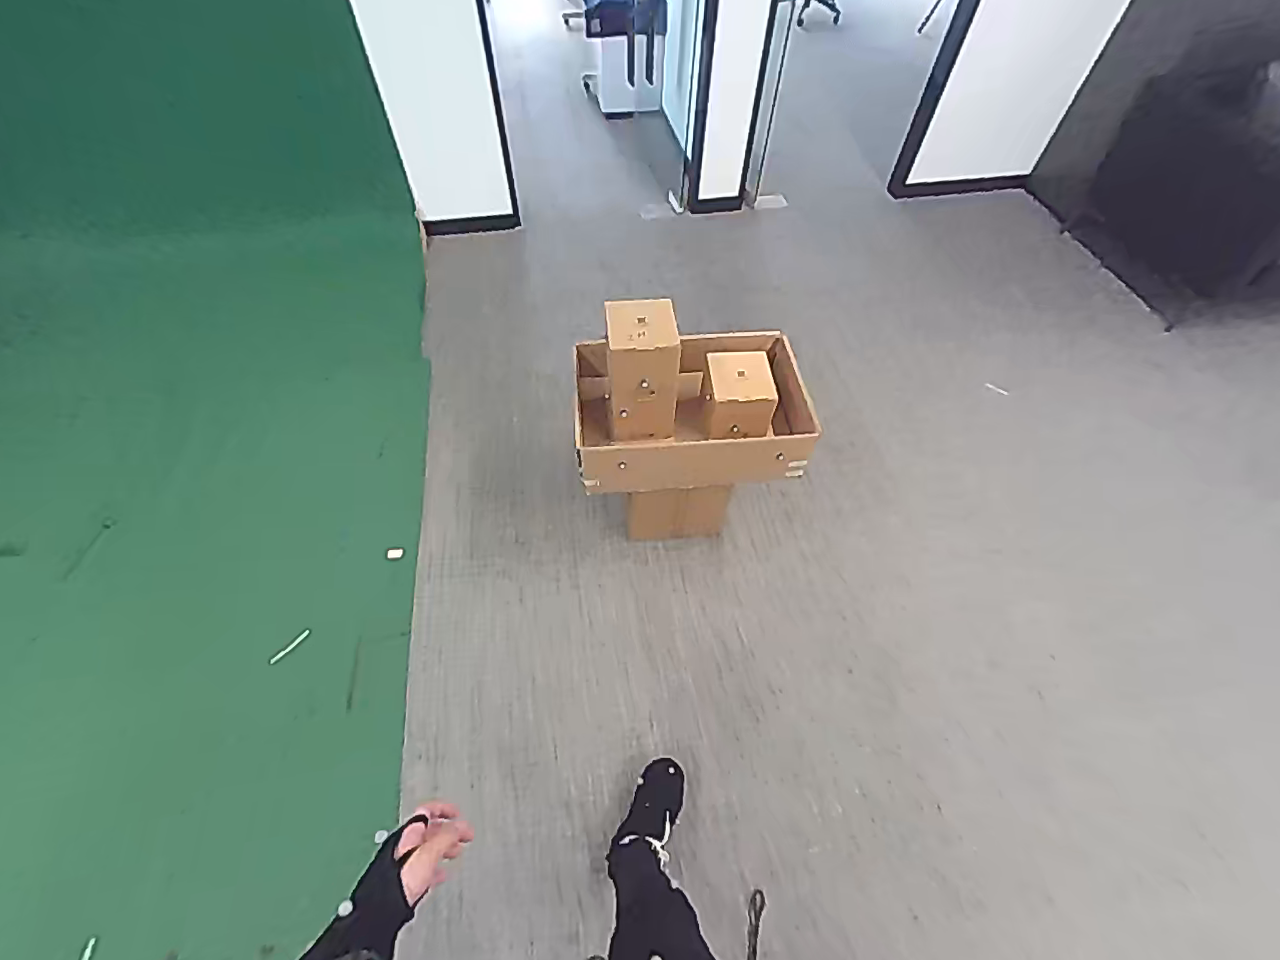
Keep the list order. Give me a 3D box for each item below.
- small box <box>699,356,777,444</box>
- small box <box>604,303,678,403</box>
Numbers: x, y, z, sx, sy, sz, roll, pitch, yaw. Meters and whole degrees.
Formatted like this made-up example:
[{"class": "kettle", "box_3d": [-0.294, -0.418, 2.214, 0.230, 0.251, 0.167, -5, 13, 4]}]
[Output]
[{"class": "small box", "box_3d": [0.260, -0.217, 1.480, 0.168, 0.176, 0.179, -3, 56, -3]}, {"class": "small box", "box_3d": [-0.003, -0.313, 1.338, 0.168, 0.176, 0.179, -4, 55, -4]}]
